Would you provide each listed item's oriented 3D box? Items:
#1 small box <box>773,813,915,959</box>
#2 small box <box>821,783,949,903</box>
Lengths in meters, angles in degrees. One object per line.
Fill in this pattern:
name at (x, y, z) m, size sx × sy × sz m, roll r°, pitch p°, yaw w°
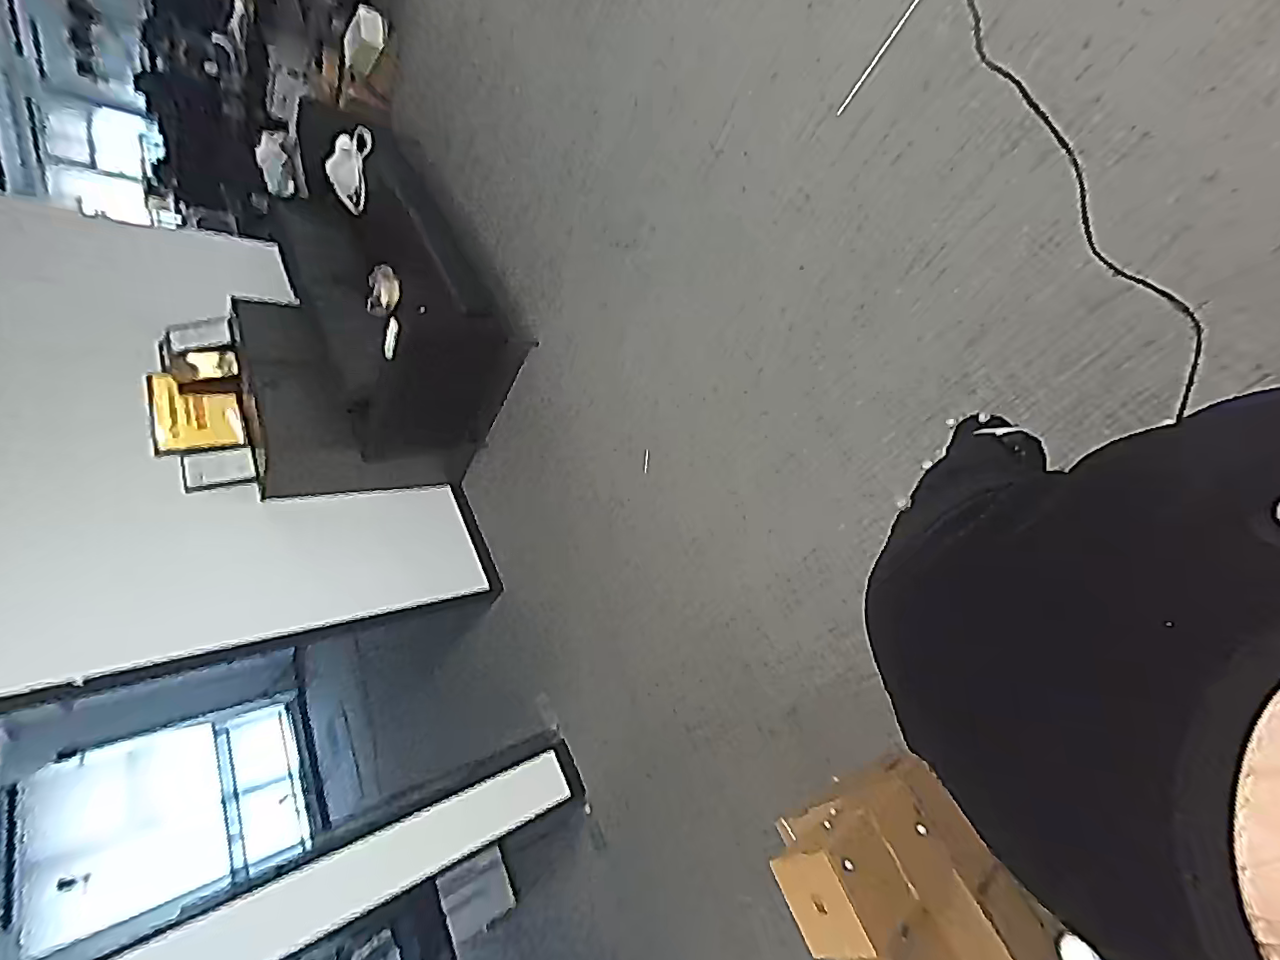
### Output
small box at (0.413, 0.816, 1.094) m, size 0.168 × 0.176 × 0.179 m, roll -50°, pitch 57°, yaw 40°
small box at (0.538, 0.806, 1.199) m, size 0.179 × 0.176 × 0.168 m, roll -50°, pitch 58°, yaw 39°
